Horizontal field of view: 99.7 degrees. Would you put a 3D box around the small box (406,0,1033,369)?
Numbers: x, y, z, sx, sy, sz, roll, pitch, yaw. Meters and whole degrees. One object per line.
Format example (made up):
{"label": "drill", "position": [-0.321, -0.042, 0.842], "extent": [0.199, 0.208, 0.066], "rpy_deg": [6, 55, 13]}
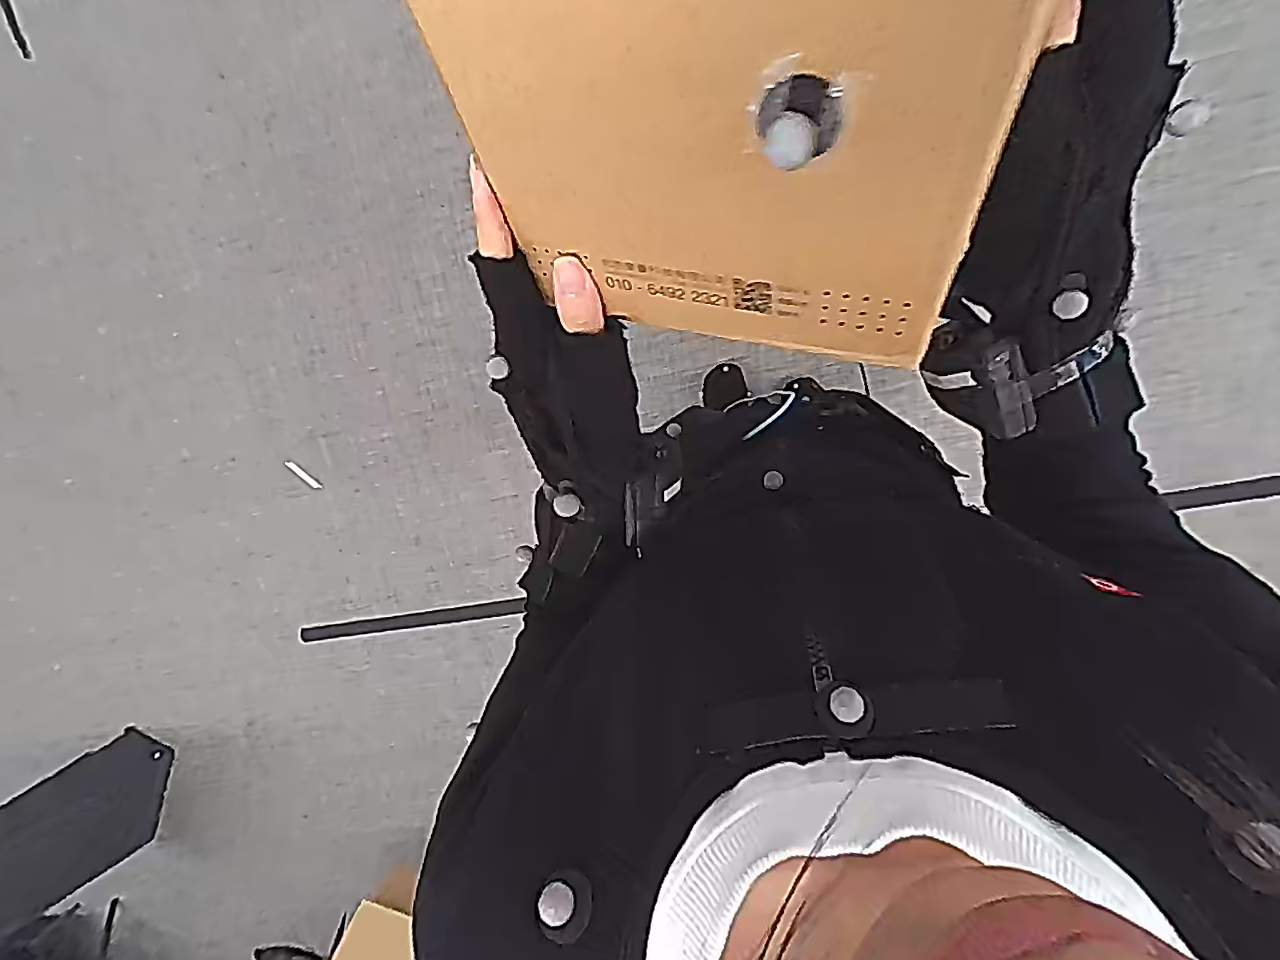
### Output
{"label": "small box", "position": [0.046, -0.168, 0.198], "extent": [0.168, 0.176, 0.179], "rpy_deg": [19, 67, 22]}
